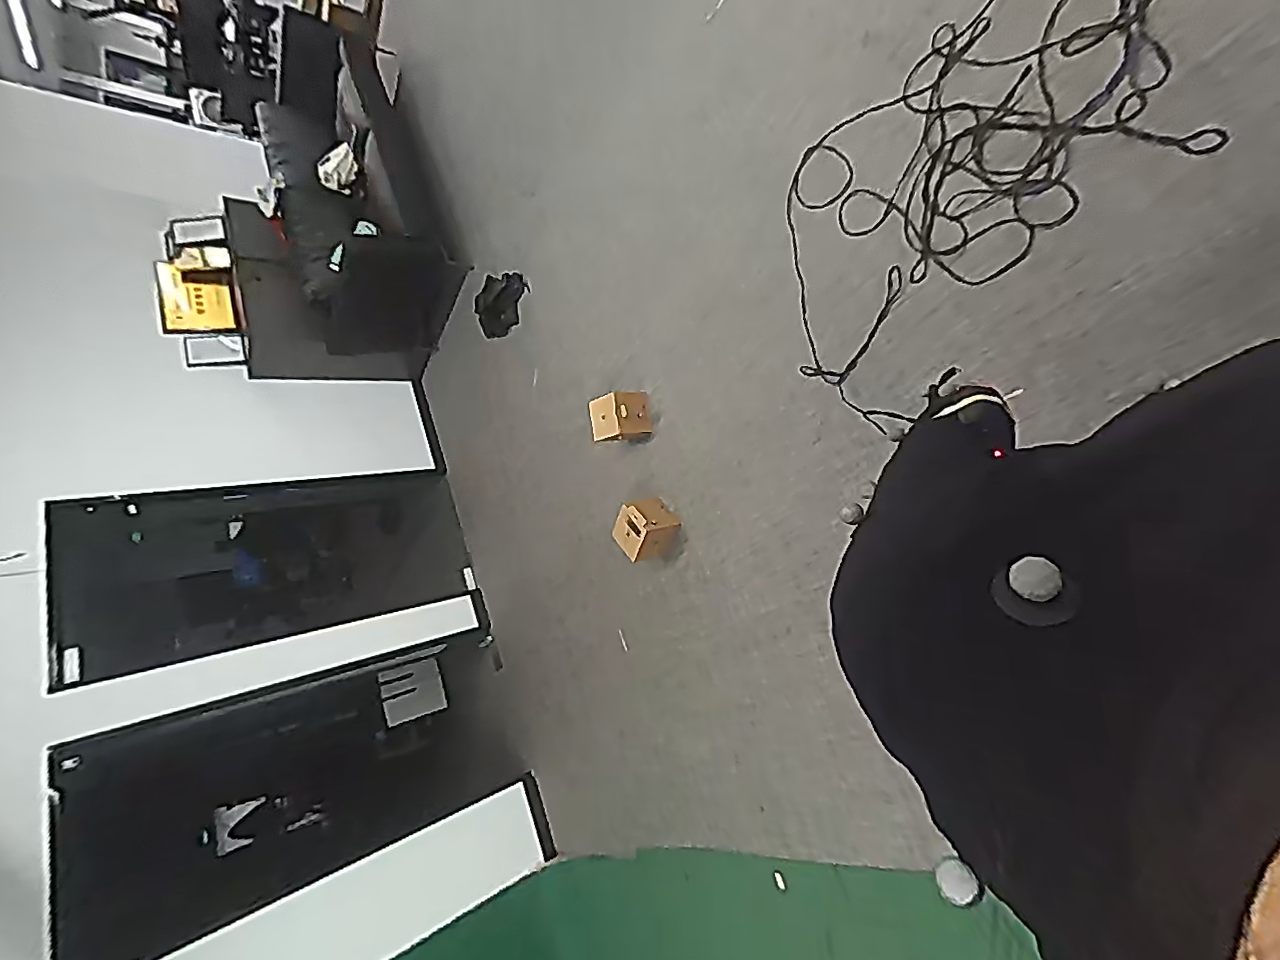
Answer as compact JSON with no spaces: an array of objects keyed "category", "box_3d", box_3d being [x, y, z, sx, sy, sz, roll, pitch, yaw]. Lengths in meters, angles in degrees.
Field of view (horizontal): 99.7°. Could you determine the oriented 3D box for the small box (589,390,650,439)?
[{"category":"small box","box_3d":[-0.081,-0.259,2.168,0.179,0.176,0.168,-11,86,51]}]
